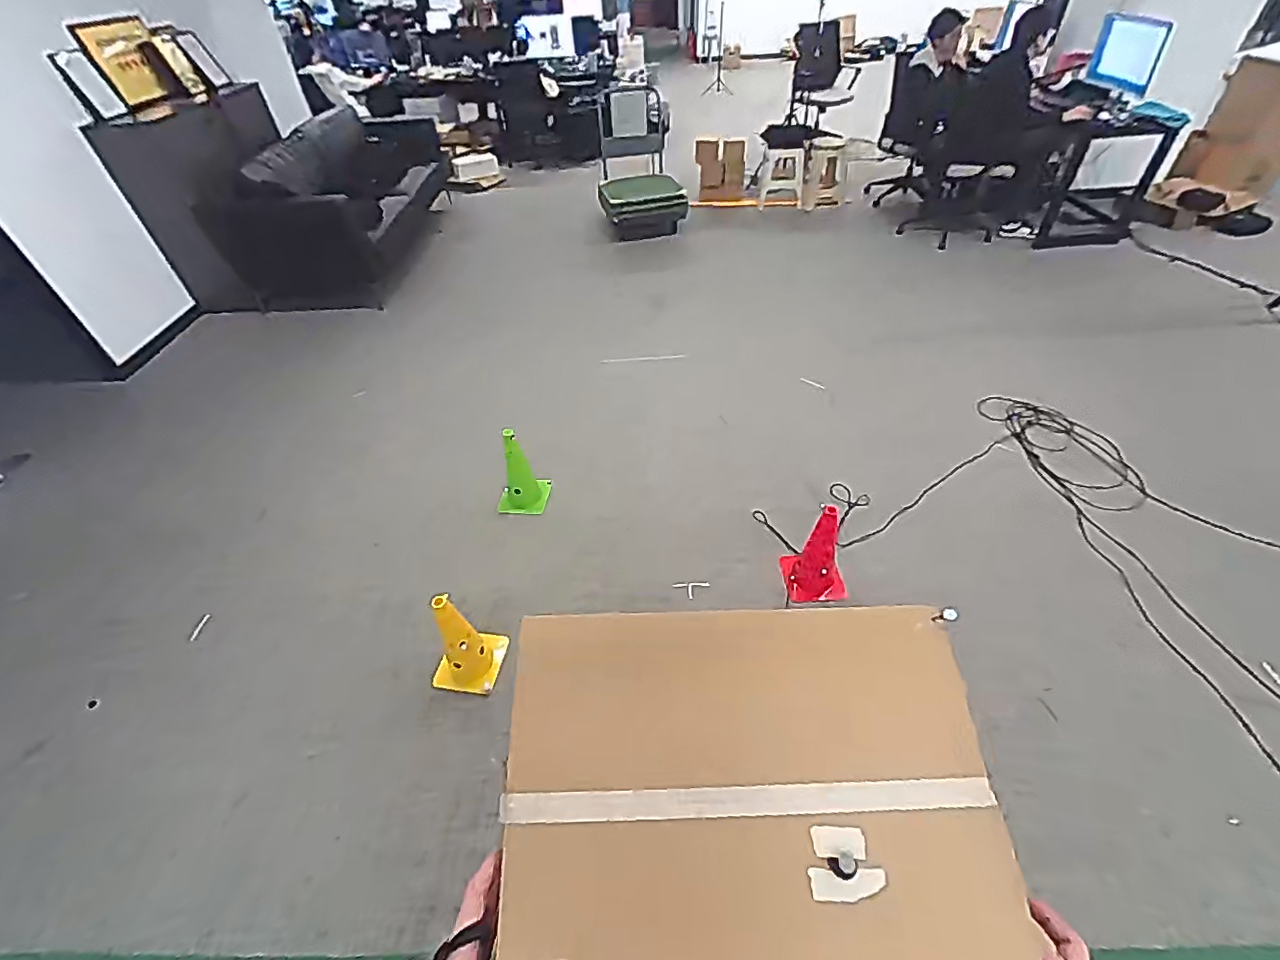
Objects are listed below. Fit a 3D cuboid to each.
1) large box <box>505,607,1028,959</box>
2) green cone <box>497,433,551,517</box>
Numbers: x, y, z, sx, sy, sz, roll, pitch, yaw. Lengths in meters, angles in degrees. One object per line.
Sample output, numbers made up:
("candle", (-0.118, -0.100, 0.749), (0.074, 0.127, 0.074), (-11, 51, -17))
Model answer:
("large box", (0.088, 0.340, 0.590), (0.408, 0.320, 0.320), (-2, 62, -1))
("green cone", (-0.501, -0.043, 2.179), (0.200, 0.368, 0.202), (2, 45, 6))
